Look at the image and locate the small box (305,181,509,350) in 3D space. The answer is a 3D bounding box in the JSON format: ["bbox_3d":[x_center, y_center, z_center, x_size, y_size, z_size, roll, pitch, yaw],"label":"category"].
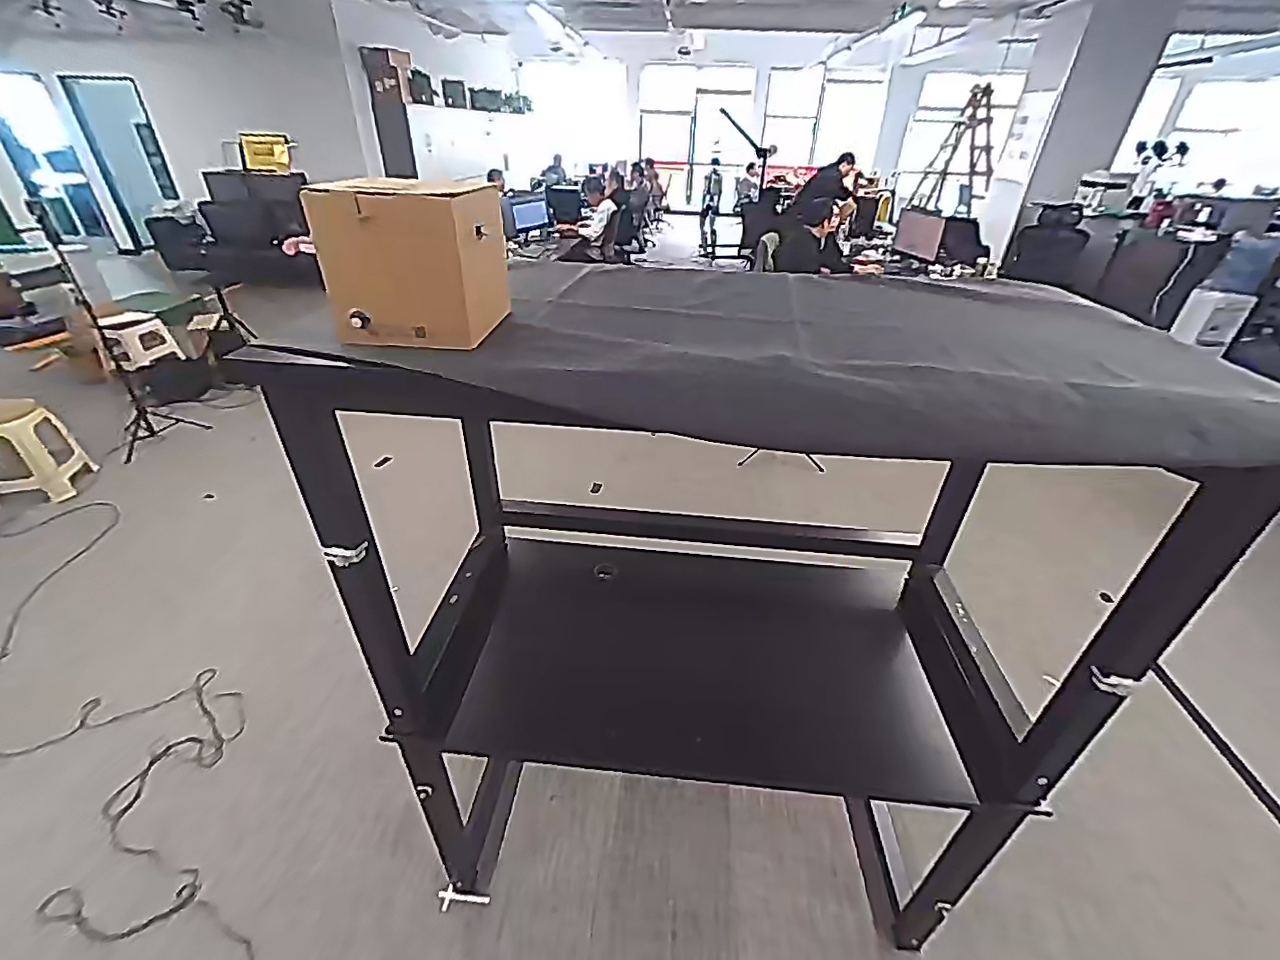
[{"bbox_3d":[-0.269,-0.270,0.676,0.168,0.176,0.179,4,32,2],"label":"small box"}]
